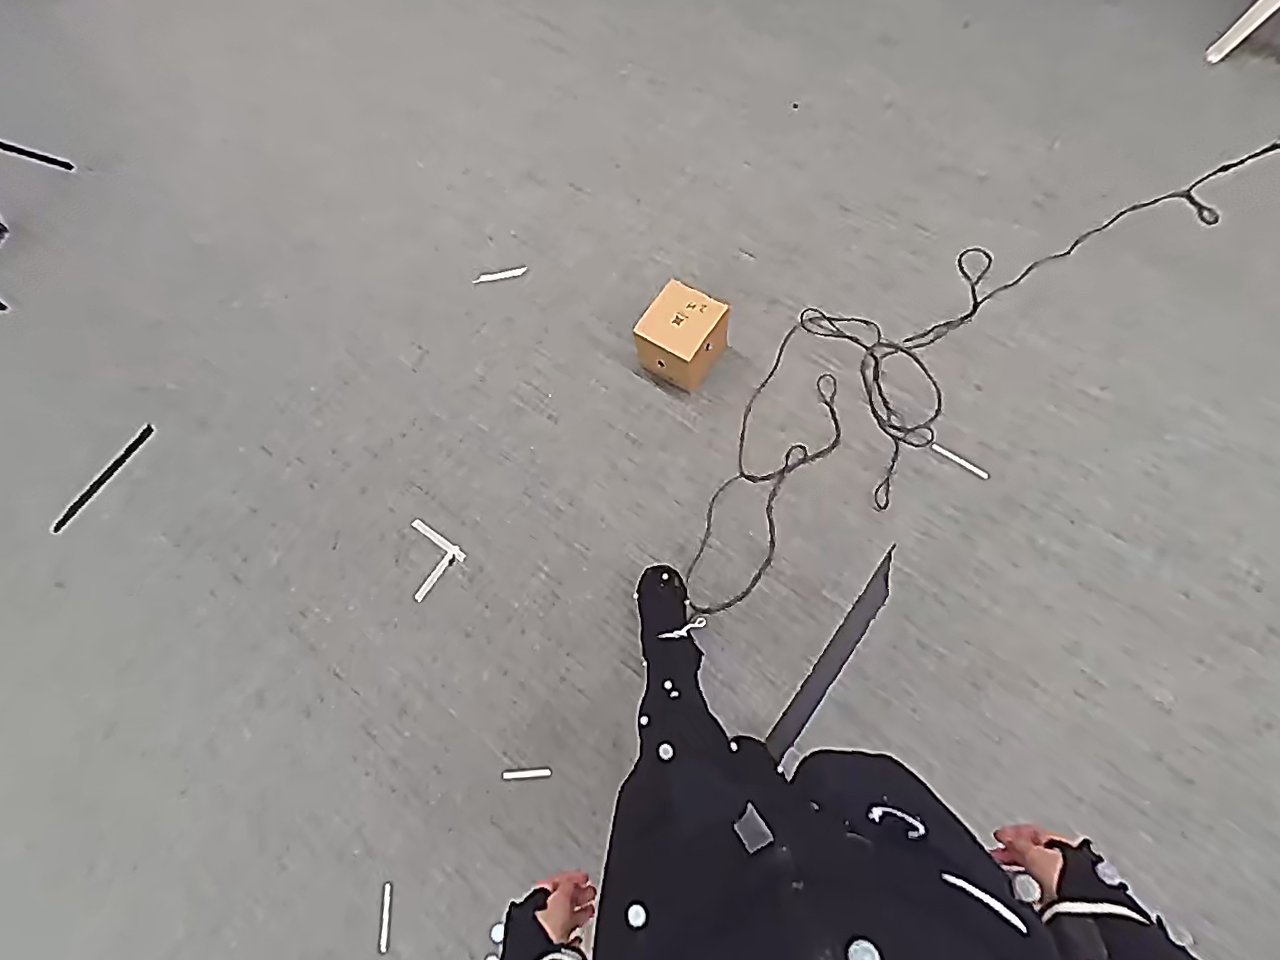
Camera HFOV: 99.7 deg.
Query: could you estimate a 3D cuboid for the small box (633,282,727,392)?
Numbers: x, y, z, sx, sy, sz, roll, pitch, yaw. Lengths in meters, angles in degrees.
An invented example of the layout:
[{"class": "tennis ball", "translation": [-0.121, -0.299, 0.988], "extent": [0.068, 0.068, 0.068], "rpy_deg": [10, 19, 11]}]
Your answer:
[{"class": "small box", "translation": [0.107, -0.354, 1.366], "extent": [0.168, 0.176, 0.179], "rpy_deg": [32, 79, 15]}]
